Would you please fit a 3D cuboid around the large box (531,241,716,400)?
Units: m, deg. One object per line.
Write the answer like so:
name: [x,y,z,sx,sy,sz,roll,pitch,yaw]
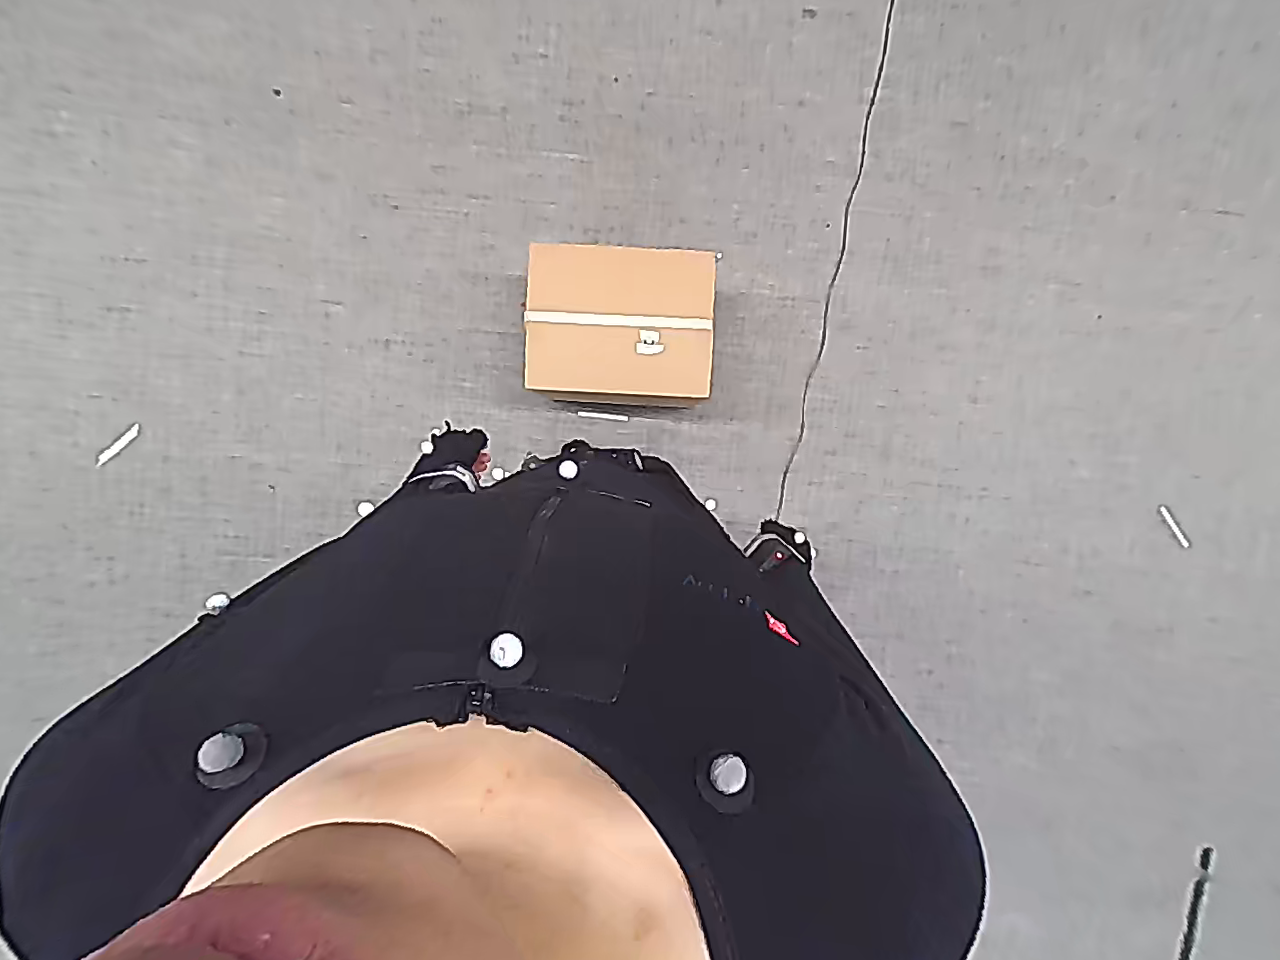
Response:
large box: [-0.041,-0.366,1.326,0.408,0.320,0.320,2,95,-1]
